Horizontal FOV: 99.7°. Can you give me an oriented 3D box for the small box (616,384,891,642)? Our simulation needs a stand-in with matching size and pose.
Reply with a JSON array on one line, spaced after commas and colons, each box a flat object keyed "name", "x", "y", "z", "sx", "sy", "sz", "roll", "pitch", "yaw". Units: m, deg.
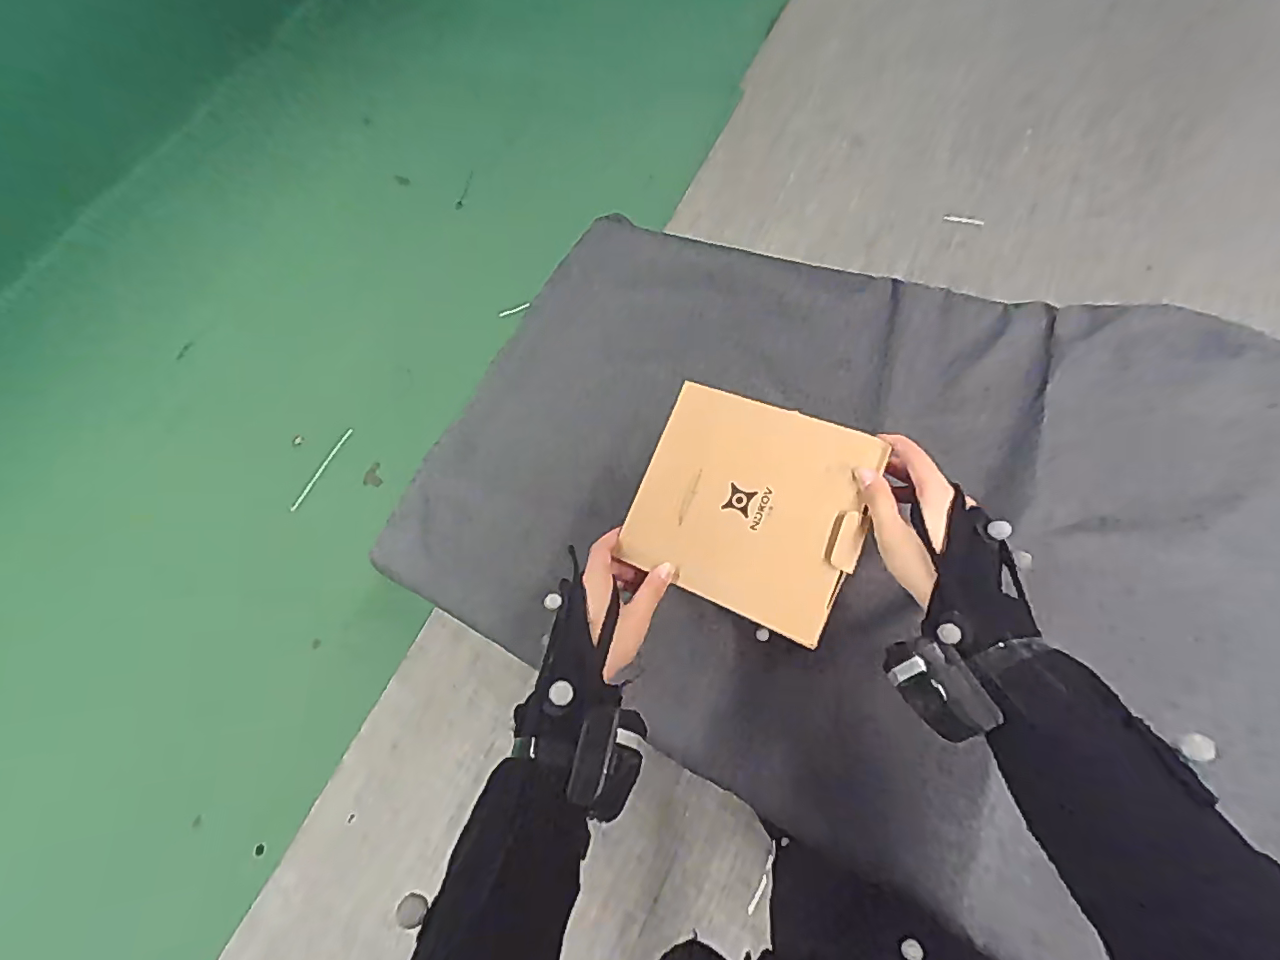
[{"name": "small box", "x": 0.109, "y": 0.037, "z": 0.503, "sx": 0.179, "sy": 0.176, "sz": 0.168, "roll": 19, "pitch": 80, "yaw": 23}]
